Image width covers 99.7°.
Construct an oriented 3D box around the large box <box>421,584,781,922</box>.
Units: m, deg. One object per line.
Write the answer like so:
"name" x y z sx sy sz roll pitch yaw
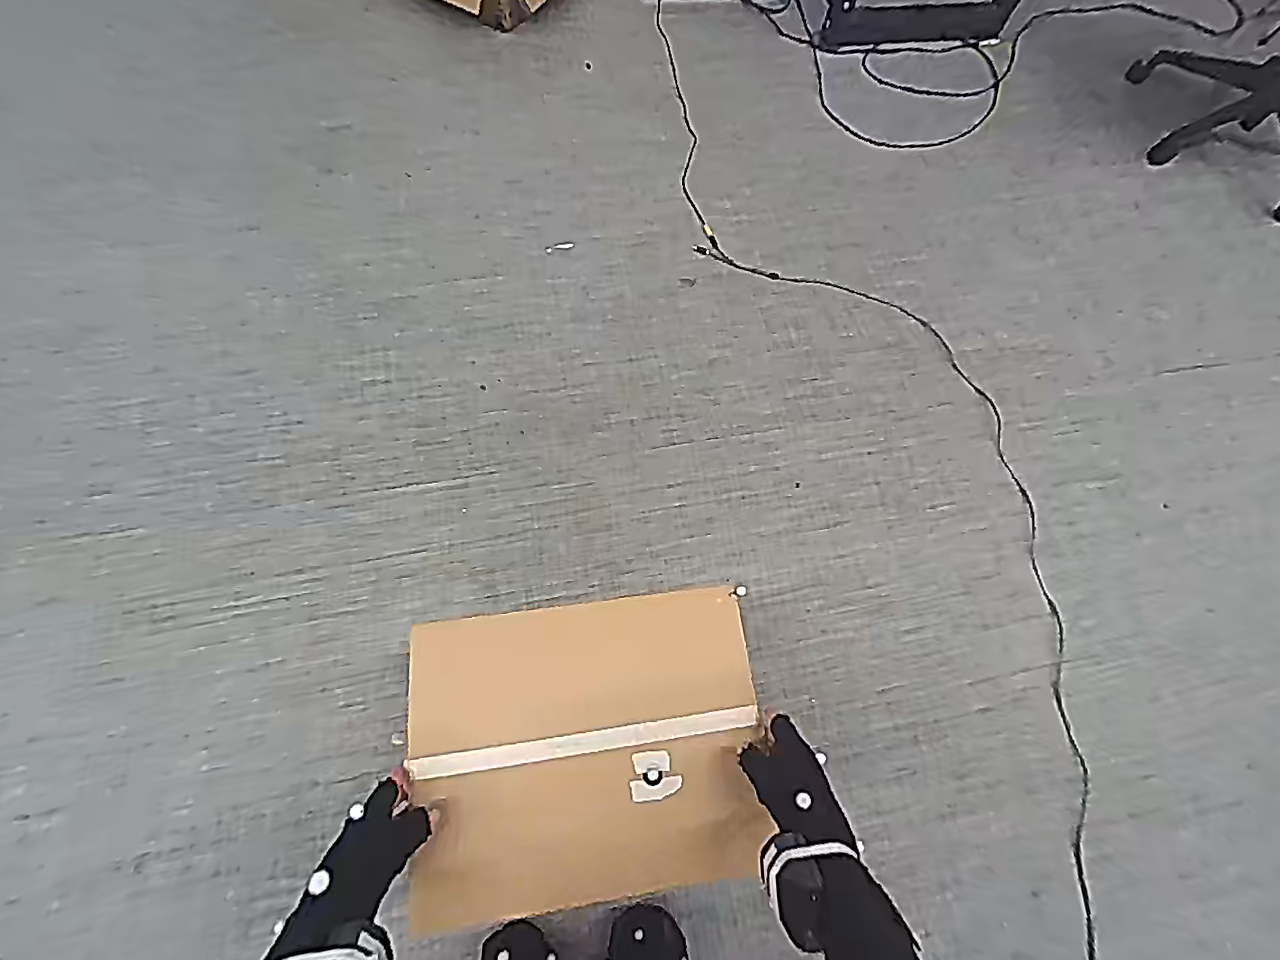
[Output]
"large box" -0.066 0.356 0.777 0.408 0.320 0.320 -6 70 -6
